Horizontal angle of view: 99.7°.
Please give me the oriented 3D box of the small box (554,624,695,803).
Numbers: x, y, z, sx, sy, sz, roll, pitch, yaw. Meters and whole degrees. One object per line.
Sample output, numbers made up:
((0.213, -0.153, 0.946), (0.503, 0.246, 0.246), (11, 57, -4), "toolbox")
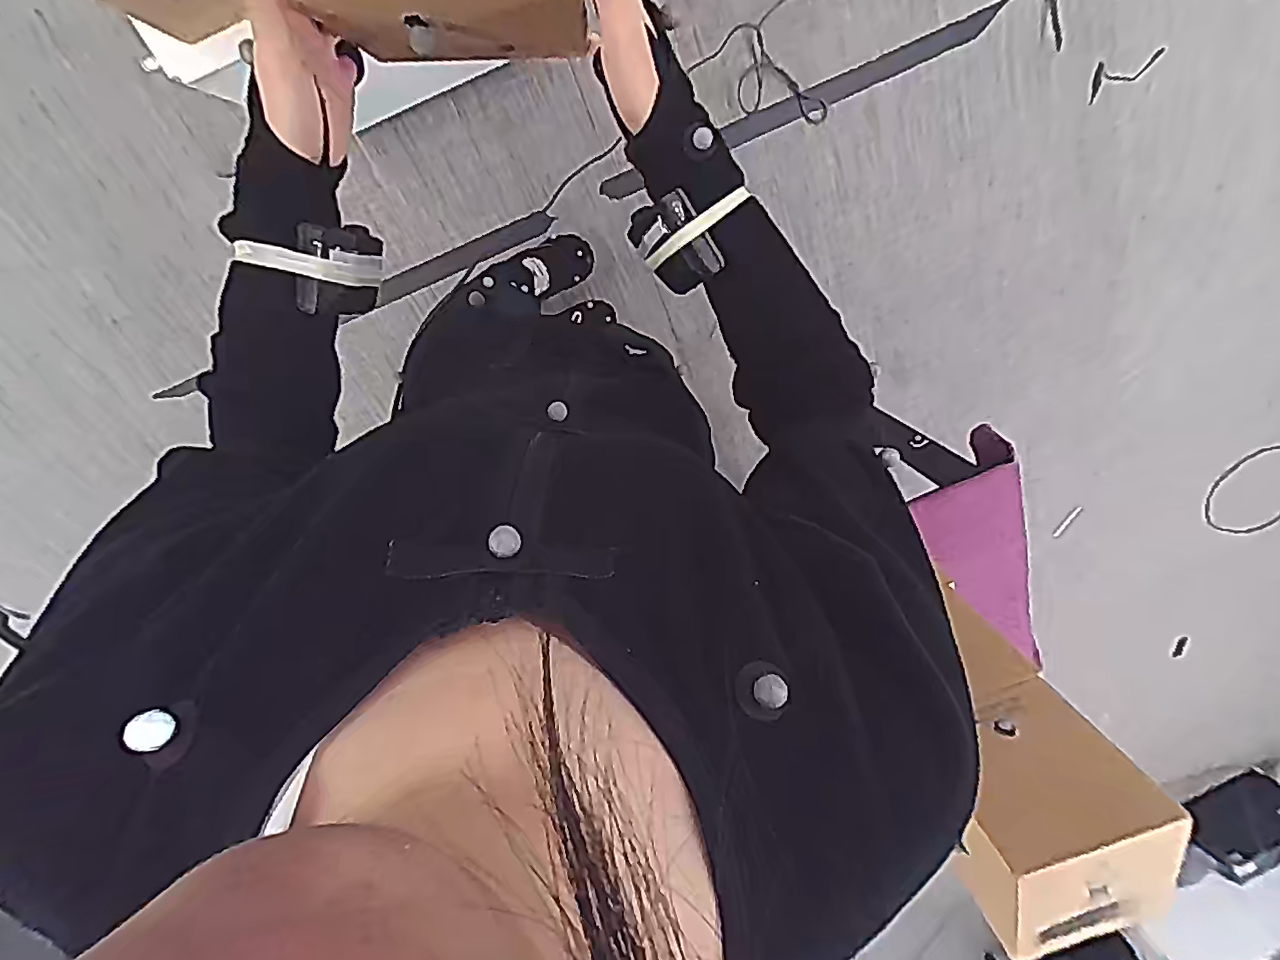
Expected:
((-0.030, 0.372, 0.878), (0.168, 0.176, 0.179), (-25, 116, 1), "small box")

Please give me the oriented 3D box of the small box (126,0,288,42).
((-0.456, -0.561, 0.501), (0.168, 0.176, 0.179), (-24, 116, 1), "small box")

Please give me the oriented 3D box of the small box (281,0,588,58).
((-0.120, -0.367, 0.311), (0.168, 0.176, 0.179), (-3, 115, -1), "small box")
